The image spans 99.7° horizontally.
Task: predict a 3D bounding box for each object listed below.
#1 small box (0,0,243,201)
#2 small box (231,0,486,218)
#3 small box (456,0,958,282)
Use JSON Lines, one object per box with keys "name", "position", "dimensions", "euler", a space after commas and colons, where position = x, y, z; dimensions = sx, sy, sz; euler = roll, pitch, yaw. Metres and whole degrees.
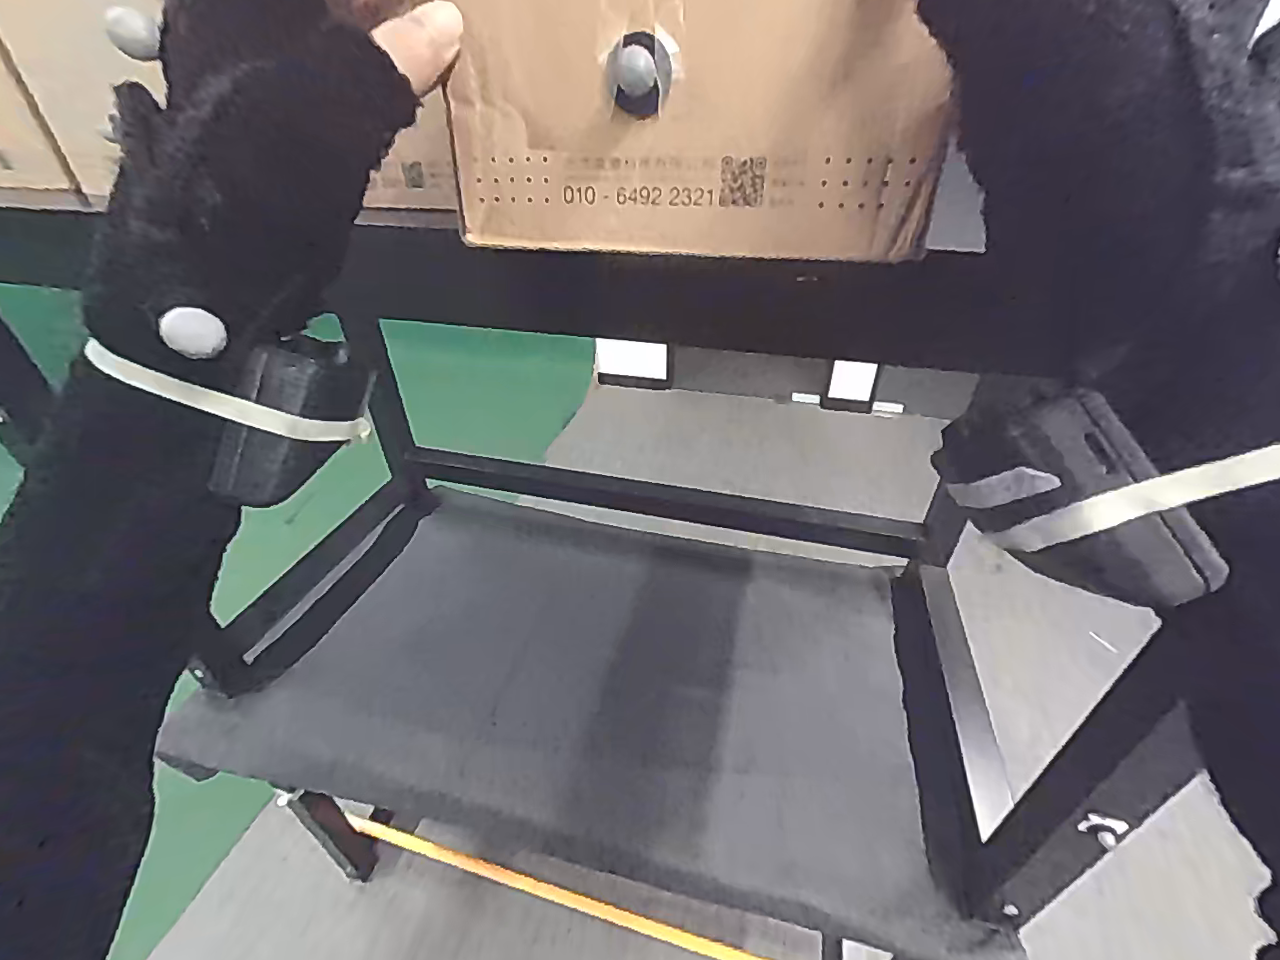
{"name": "small box", "position": [-0.519, -0.358, 0.489], "dimensions": [0.168, 0.176, 0.179], "euler": [10, 36, 13]}
{"name": "small box", "position": [-0.142, -0.288, 0.381], "dimensions": [0.168, 0.176, 0.179], "euler": [7, 35, 12]}
{"name": "small box", "position": [0.028, -0.194, 0.234], "dimensions": [0.168, 0.176, 0.179], "euler": [5, 32, 9]}
